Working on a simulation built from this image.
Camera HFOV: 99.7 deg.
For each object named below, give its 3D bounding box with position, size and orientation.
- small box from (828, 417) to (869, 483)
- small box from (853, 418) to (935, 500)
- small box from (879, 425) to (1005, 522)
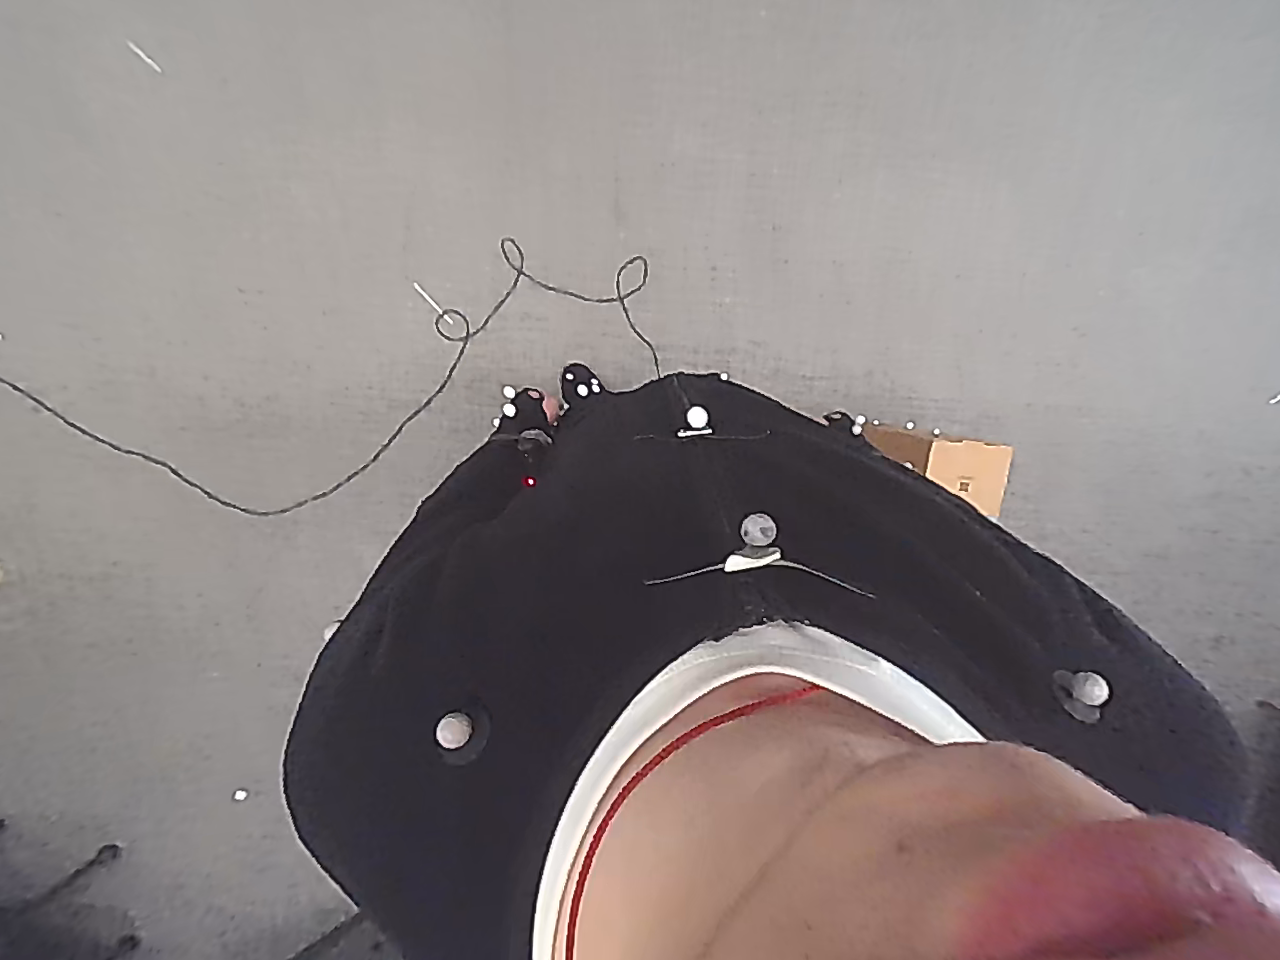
[{"bbox_3d":[0.642,-0.081,1.497,0.179,0.176,0.168,5,103,-2],"label":"small box"},{"bbox_3d":[0.645,-0.051,1.335,0.168,0.176,0.179,3,102,-2],"label":"small box"},{"bbox_3d":[0.644,-0.021,1.177,0.168,0.176,0.179,4,104,-2],"label":"small box"}]
